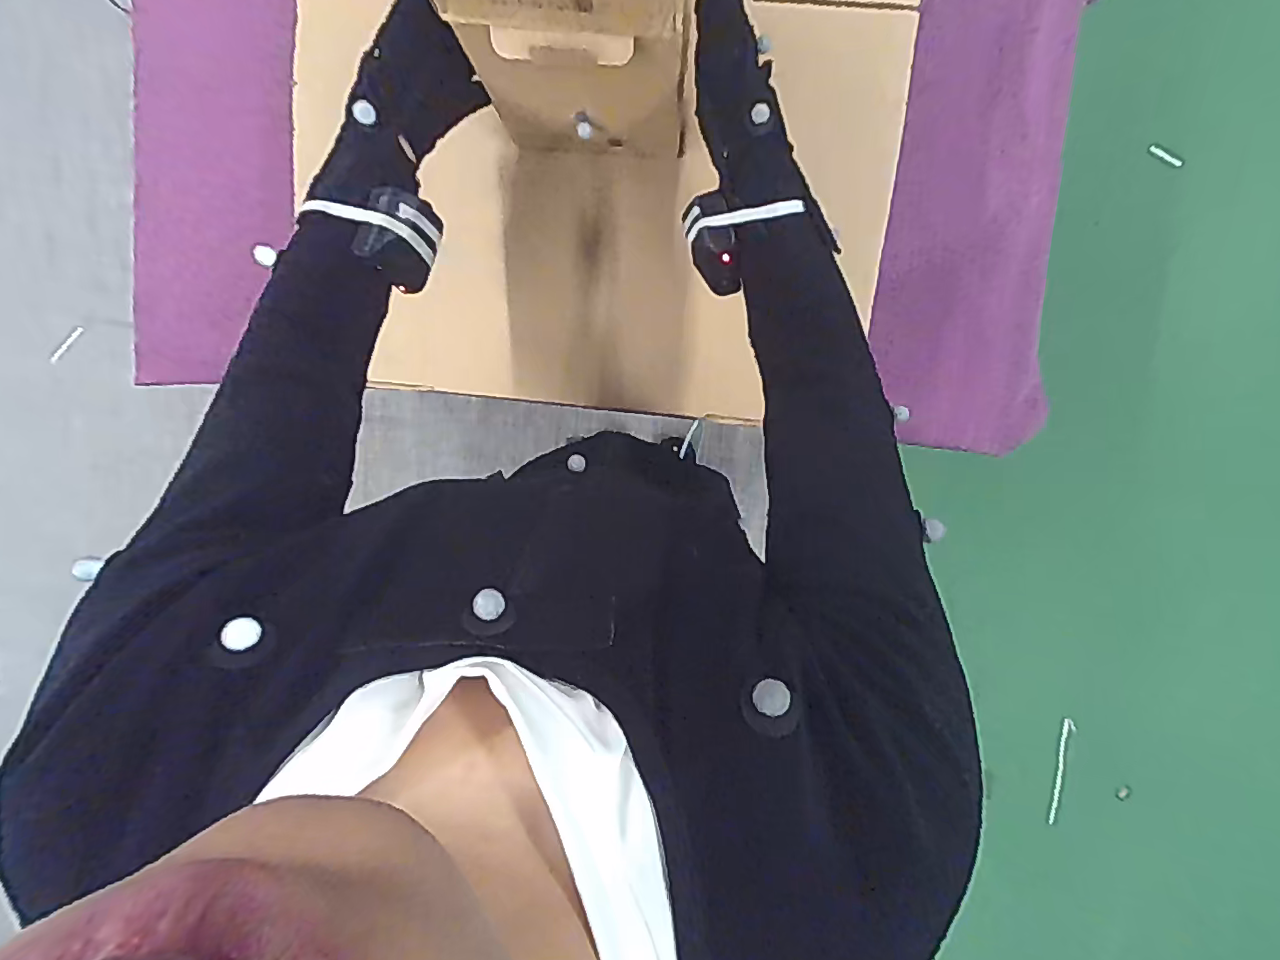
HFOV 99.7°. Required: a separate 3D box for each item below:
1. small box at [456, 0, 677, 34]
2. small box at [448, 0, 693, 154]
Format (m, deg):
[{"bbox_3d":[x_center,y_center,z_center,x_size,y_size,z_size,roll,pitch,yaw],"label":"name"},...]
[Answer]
[{"bbox_3d":[-0.051,-0.397,0.288,0.168,0.176,0.179,7,95,2],"label":"small box"},{"bbox_3d":[-0.041,-0.411,0.449,0.168,0.176,0.179,7,95,3],"label":"small box"}]
